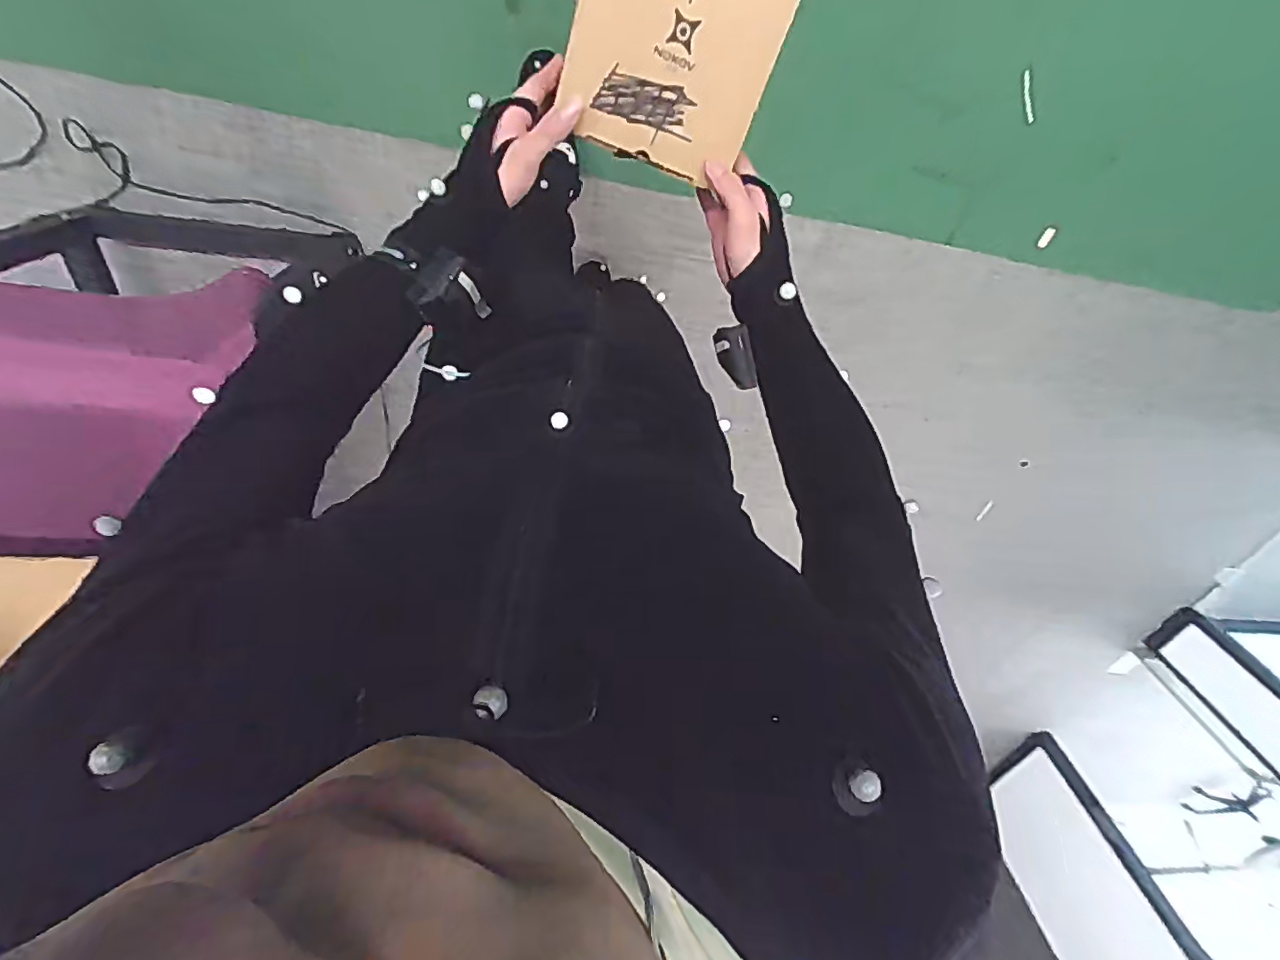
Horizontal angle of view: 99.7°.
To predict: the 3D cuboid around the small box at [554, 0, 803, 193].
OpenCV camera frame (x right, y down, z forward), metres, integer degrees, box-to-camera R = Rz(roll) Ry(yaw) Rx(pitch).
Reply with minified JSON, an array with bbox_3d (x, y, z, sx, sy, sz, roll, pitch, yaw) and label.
[{"bbox_3d":[0.024,-0.398,0.497,0.168,0.176,0.179,12,124,-17],"label":"small box"}]
